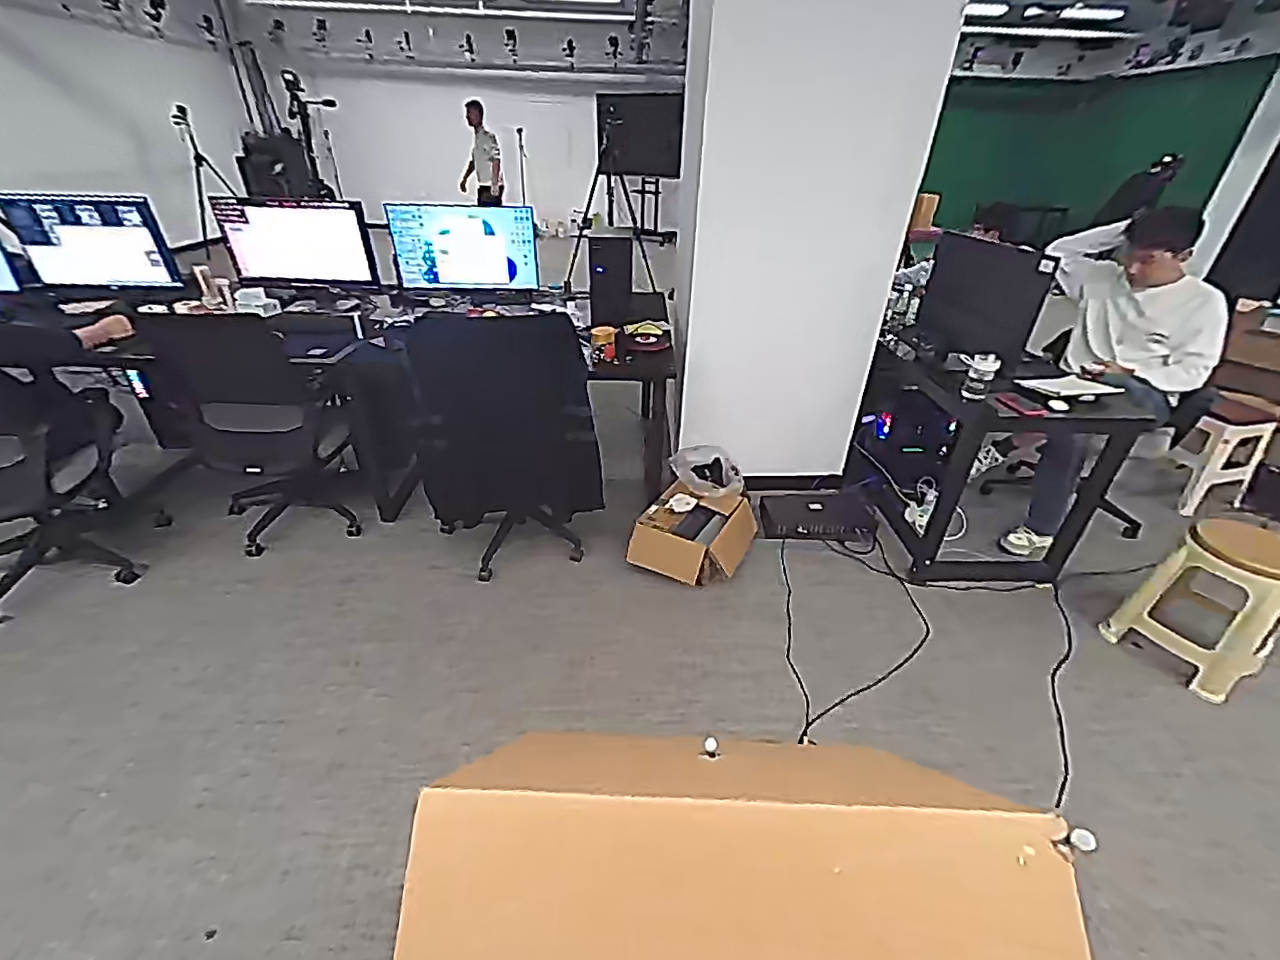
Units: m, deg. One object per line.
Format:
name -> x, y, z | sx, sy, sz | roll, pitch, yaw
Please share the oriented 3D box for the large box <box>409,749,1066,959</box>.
large box -> 0.059, 0.408, 0.444 | 0.408, 0.320, 0.320 | 0, 72, 2
